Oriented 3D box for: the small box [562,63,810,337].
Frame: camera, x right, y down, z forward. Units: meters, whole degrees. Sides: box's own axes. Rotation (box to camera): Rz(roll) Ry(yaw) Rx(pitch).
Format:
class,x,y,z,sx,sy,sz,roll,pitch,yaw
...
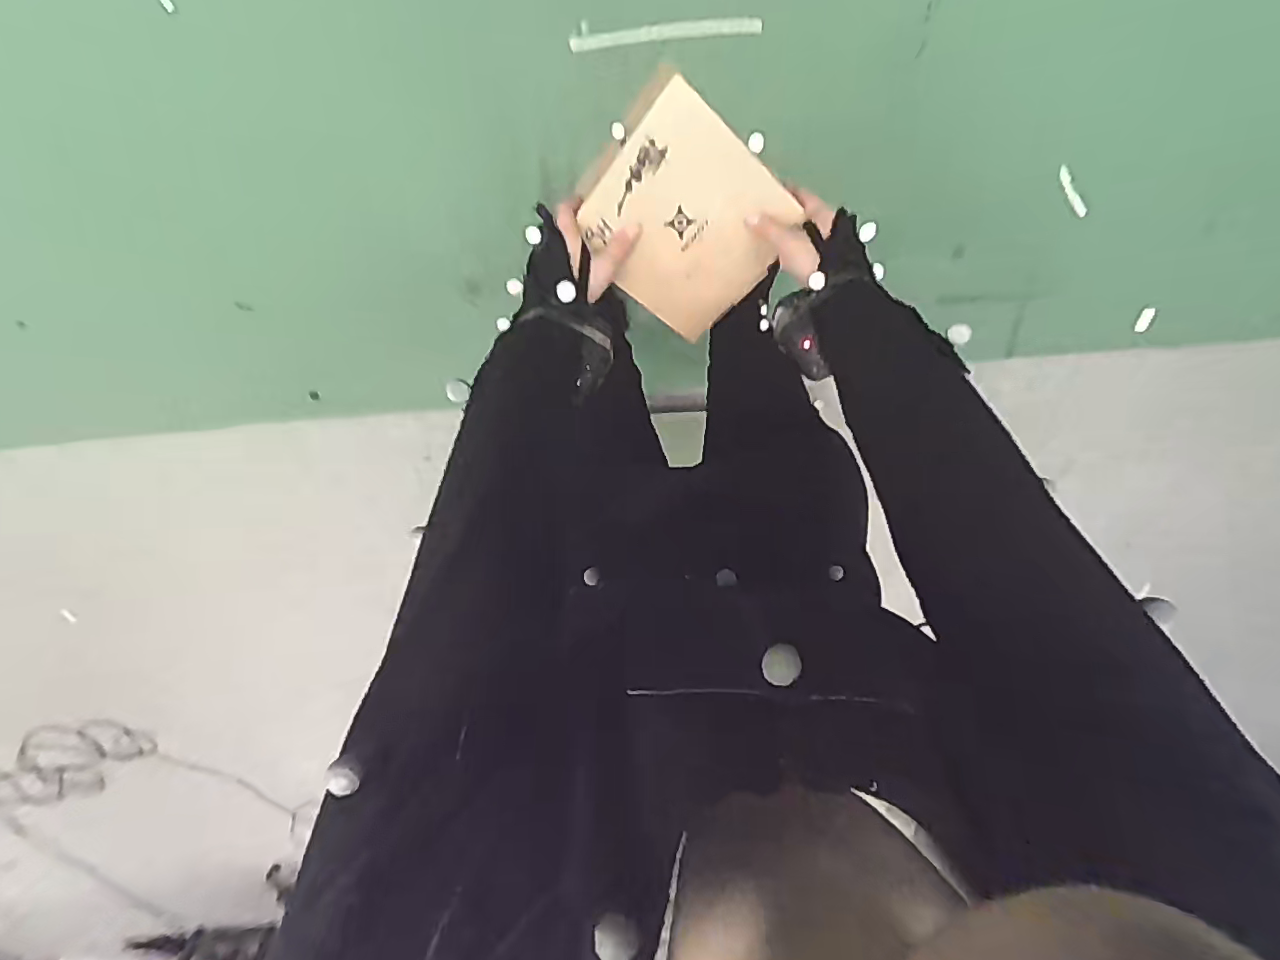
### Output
class,x,y,z,sx,sy,sz,roll,pitch,yaw
small box,0.042,-0.291,0.561,0.179,0.176,0.168,31,124,-26
